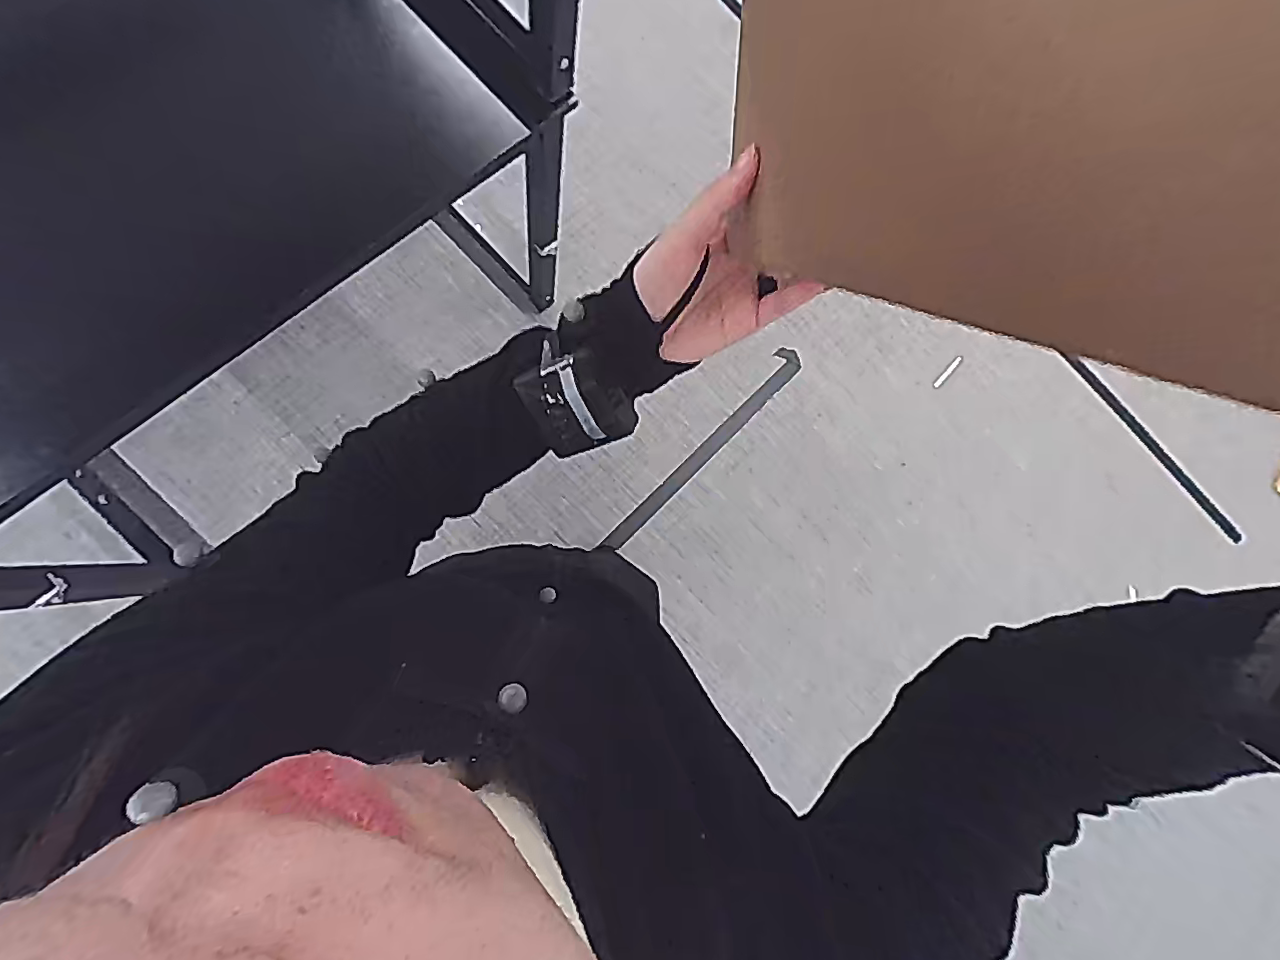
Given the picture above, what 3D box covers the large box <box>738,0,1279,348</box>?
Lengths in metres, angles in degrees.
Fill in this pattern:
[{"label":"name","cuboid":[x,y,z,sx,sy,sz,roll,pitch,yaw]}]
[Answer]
[{"label":"large box","cuboid":[0.221,-0.262,0.110,0.320,0.320,0.408,-6,118,-9]}]
